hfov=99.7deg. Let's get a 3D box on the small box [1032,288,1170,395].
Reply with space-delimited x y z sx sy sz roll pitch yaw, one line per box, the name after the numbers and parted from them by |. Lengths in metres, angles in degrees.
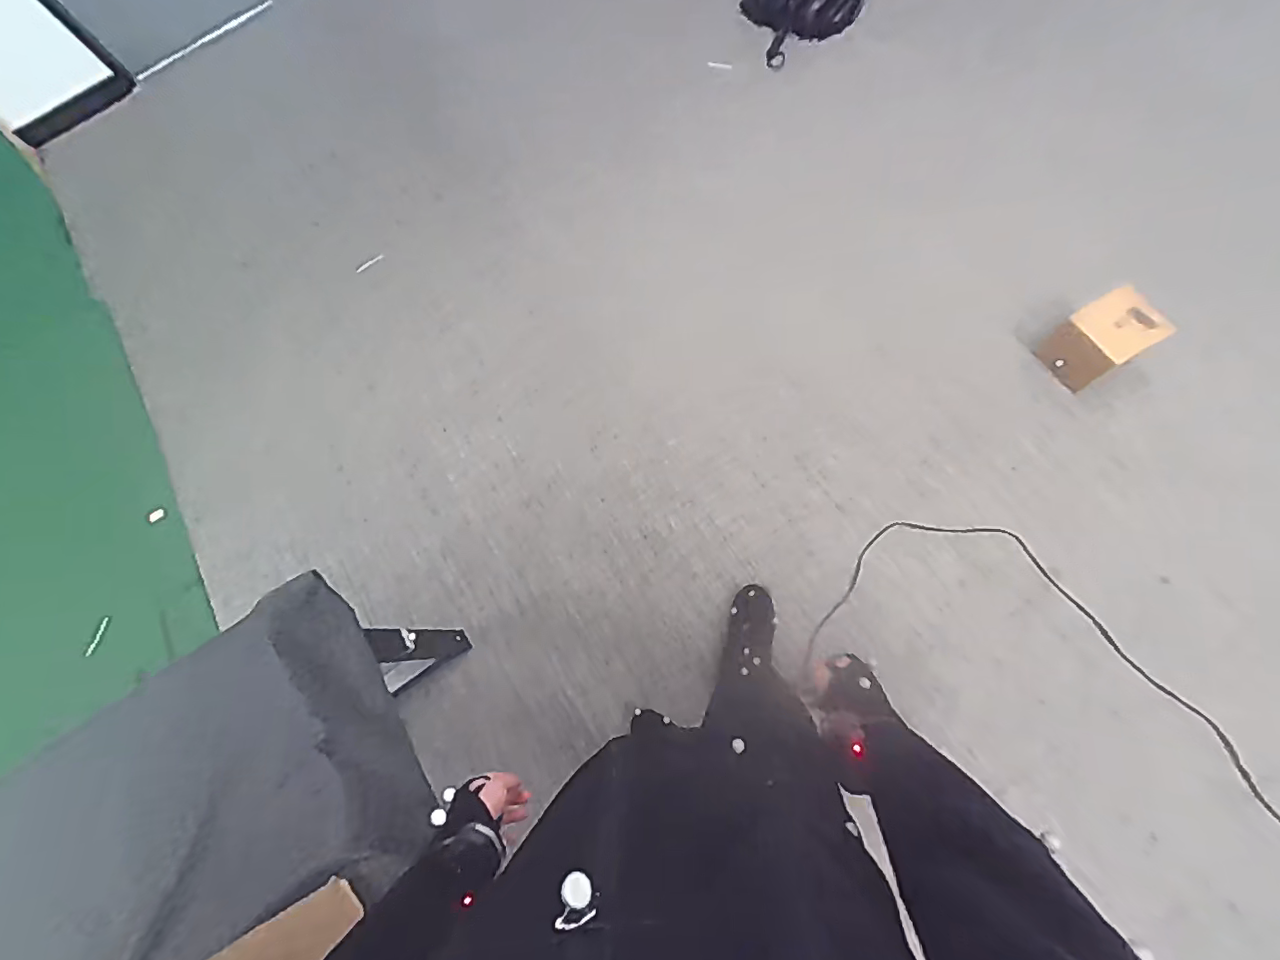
1.185 -0.354 1.406 0.179 0.176 0.168 -31 71 0 | small box
